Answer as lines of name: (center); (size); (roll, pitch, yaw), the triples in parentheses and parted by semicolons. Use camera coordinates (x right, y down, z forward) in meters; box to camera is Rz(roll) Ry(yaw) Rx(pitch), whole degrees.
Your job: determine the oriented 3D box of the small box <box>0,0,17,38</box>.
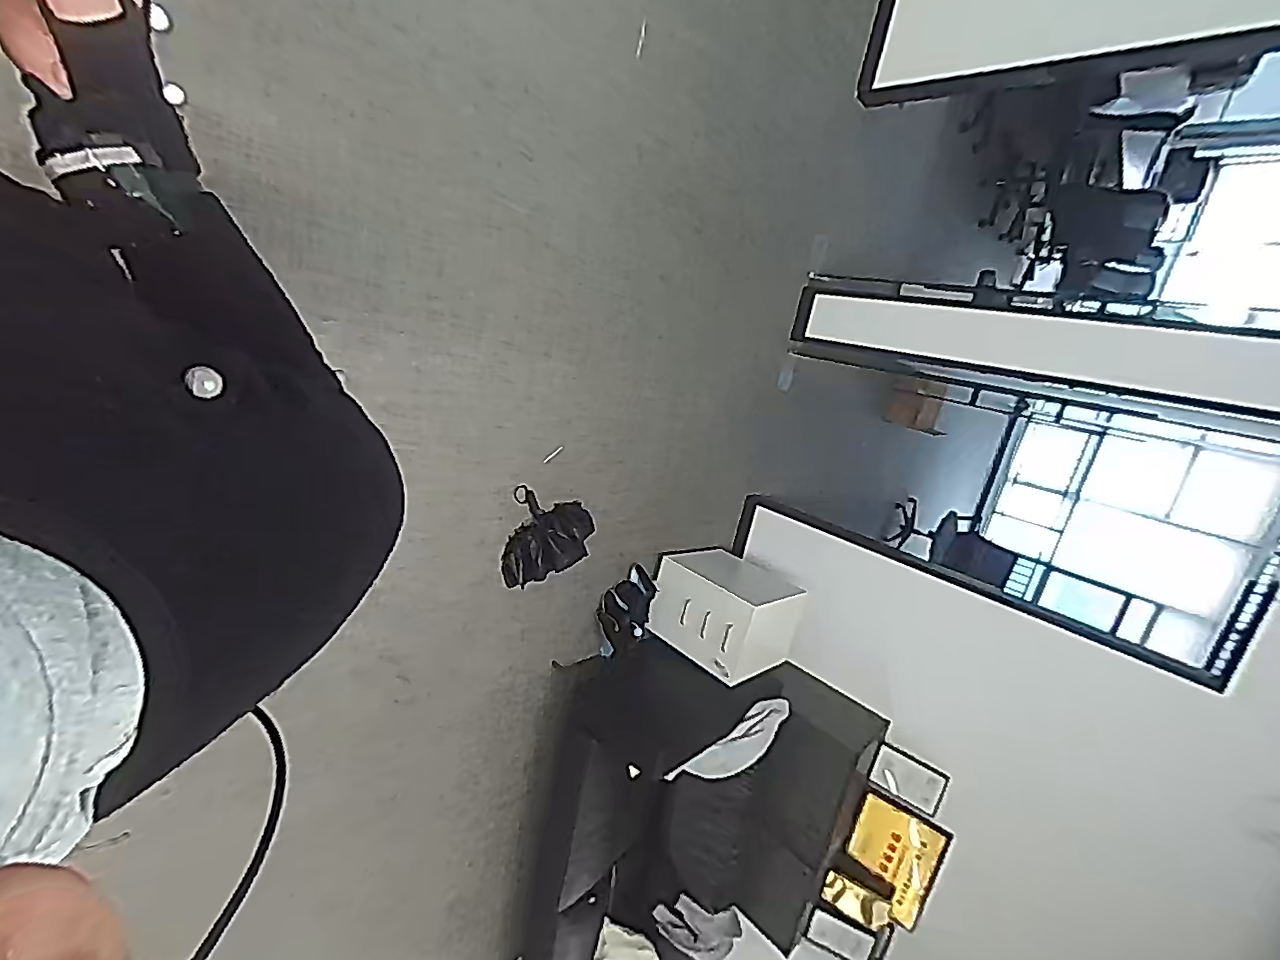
small box: (-0.429, -0.310, 0.235); (0.168, 0.176, 0.179); (-11, 139, -34)
